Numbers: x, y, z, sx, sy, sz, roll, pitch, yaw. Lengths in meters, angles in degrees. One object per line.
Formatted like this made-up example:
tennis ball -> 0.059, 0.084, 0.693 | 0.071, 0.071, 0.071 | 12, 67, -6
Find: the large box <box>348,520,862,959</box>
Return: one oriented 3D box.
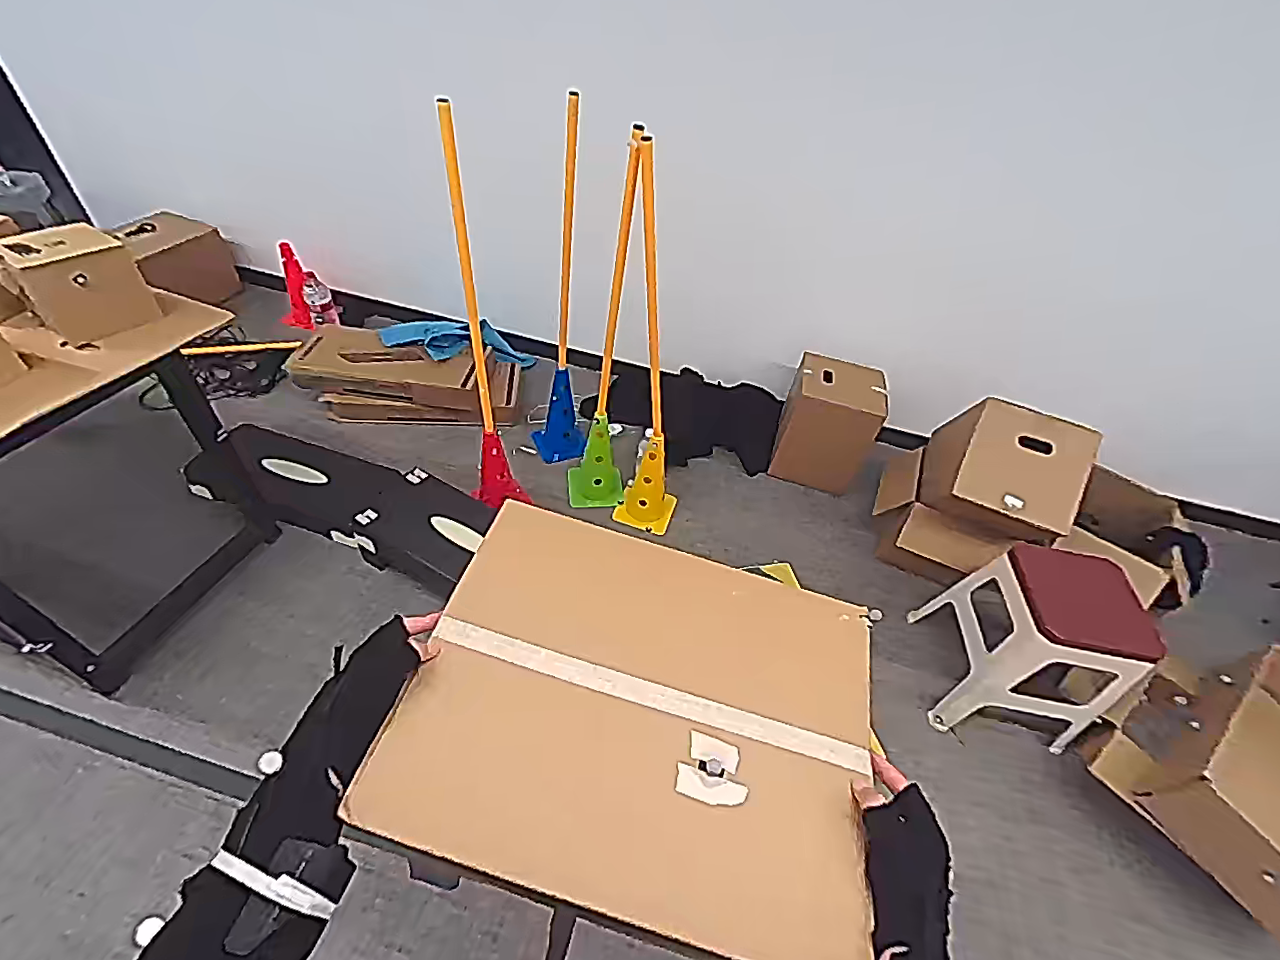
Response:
large box -> -0.018, 0.300, 0.602 | 0.408, 0.320, 0.320 | 17, 51, 3
